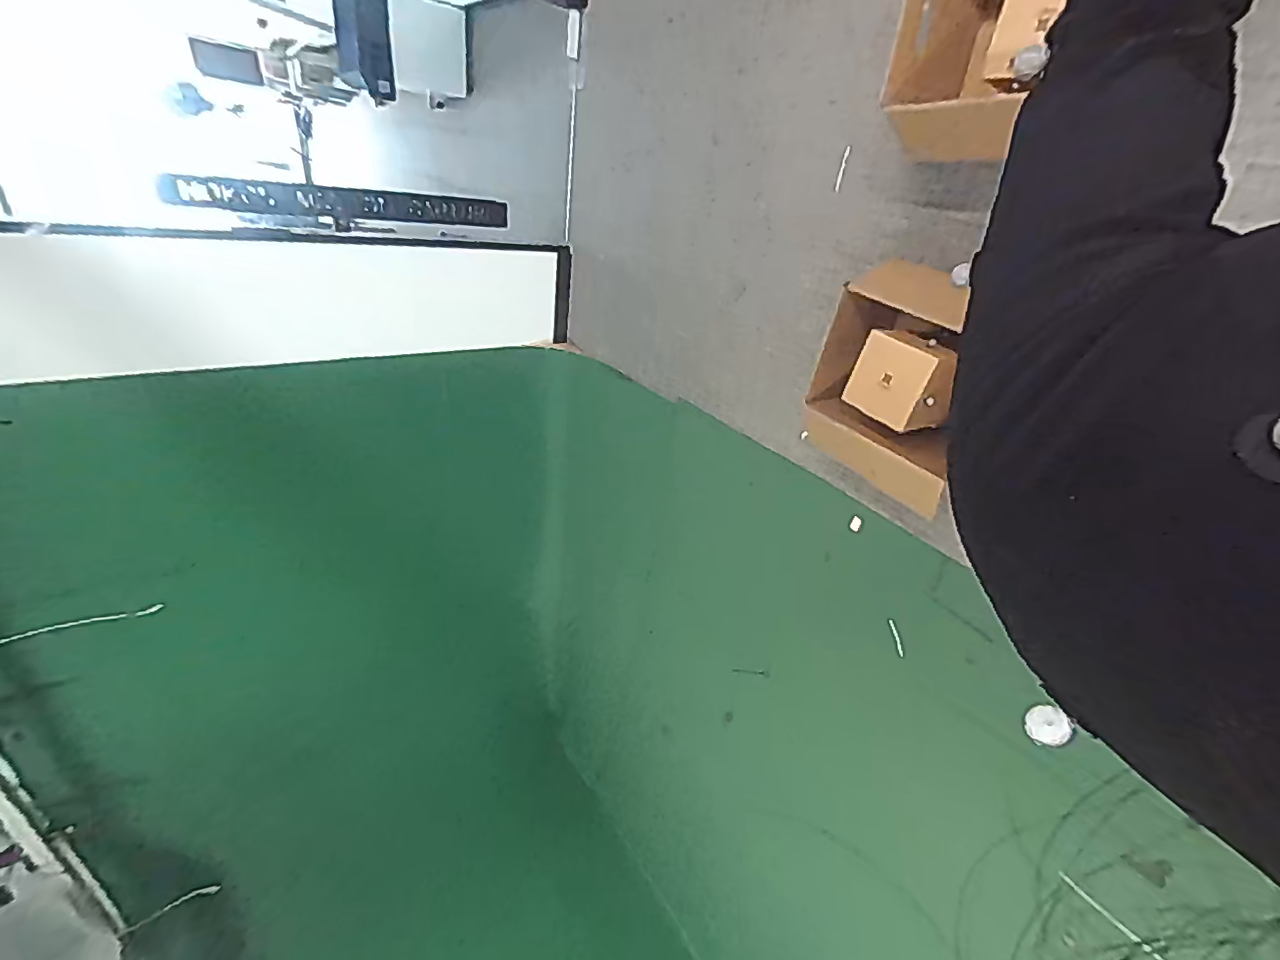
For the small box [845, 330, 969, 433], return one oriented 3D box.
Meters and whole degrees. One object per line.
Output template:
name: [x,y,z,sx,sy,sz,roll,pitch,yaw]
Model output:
small box: [0.611,-0.231,1.232,0.168,0.176,0.179,43,132,38]
